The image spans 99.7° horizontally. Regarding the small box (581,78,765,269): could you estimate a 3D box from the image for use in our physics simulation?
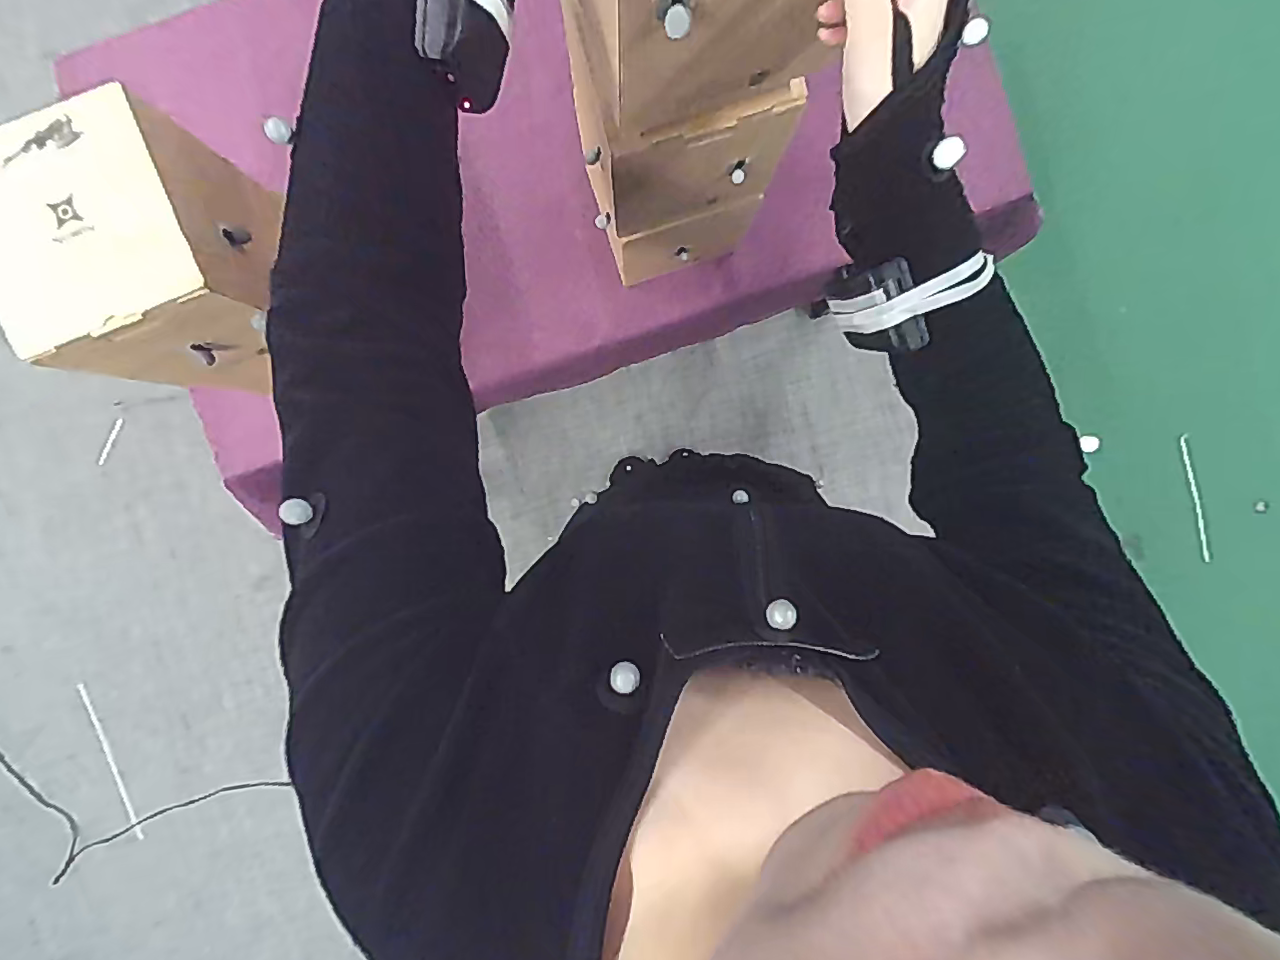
[{"bbox_3d":[0.038,-0.380,0.667,0.168,0.176,0.179,-17,93,1],"label":"small box"}]

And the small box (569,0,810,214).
[{"bbox_3d":[0.037,-0.375,0.504,0.168,0.176,0.179,-15,93,1],"label":"small box"}]
